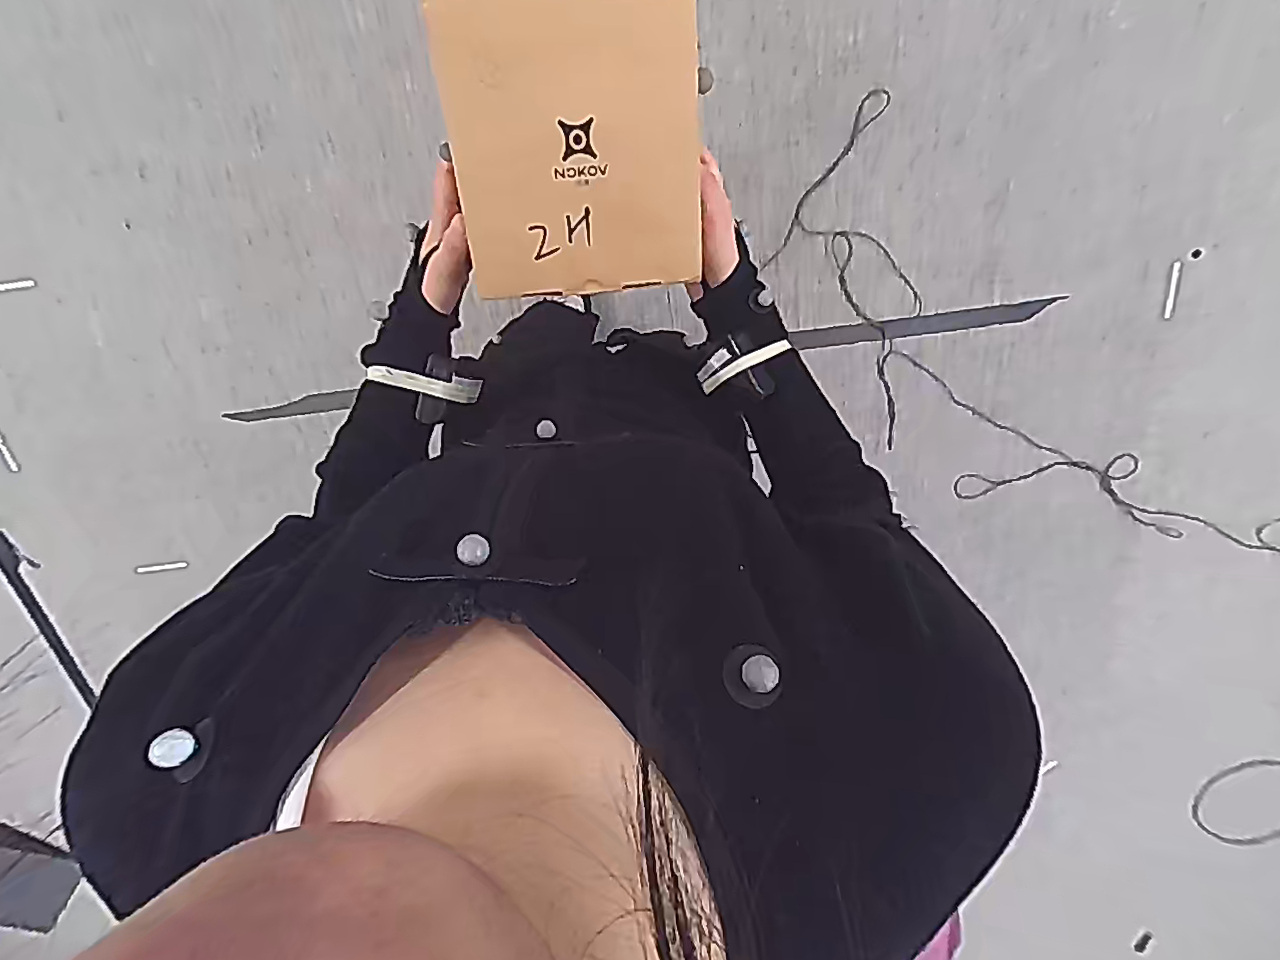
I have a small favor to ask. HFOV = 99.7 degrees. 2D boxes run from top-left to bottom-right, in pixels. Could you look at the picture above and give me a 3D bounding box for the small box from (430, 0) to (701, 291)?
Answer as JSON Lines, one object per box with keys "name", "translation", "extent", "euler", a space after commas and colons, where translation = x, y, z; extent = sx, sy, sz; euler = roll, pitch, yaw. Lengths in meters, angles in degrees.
{"name": "small box", "translation": [-0.048, -0.255, 0.431], "extent": [0.168, 0.176, 0.179], "euler": [-6, 116, -3]}
